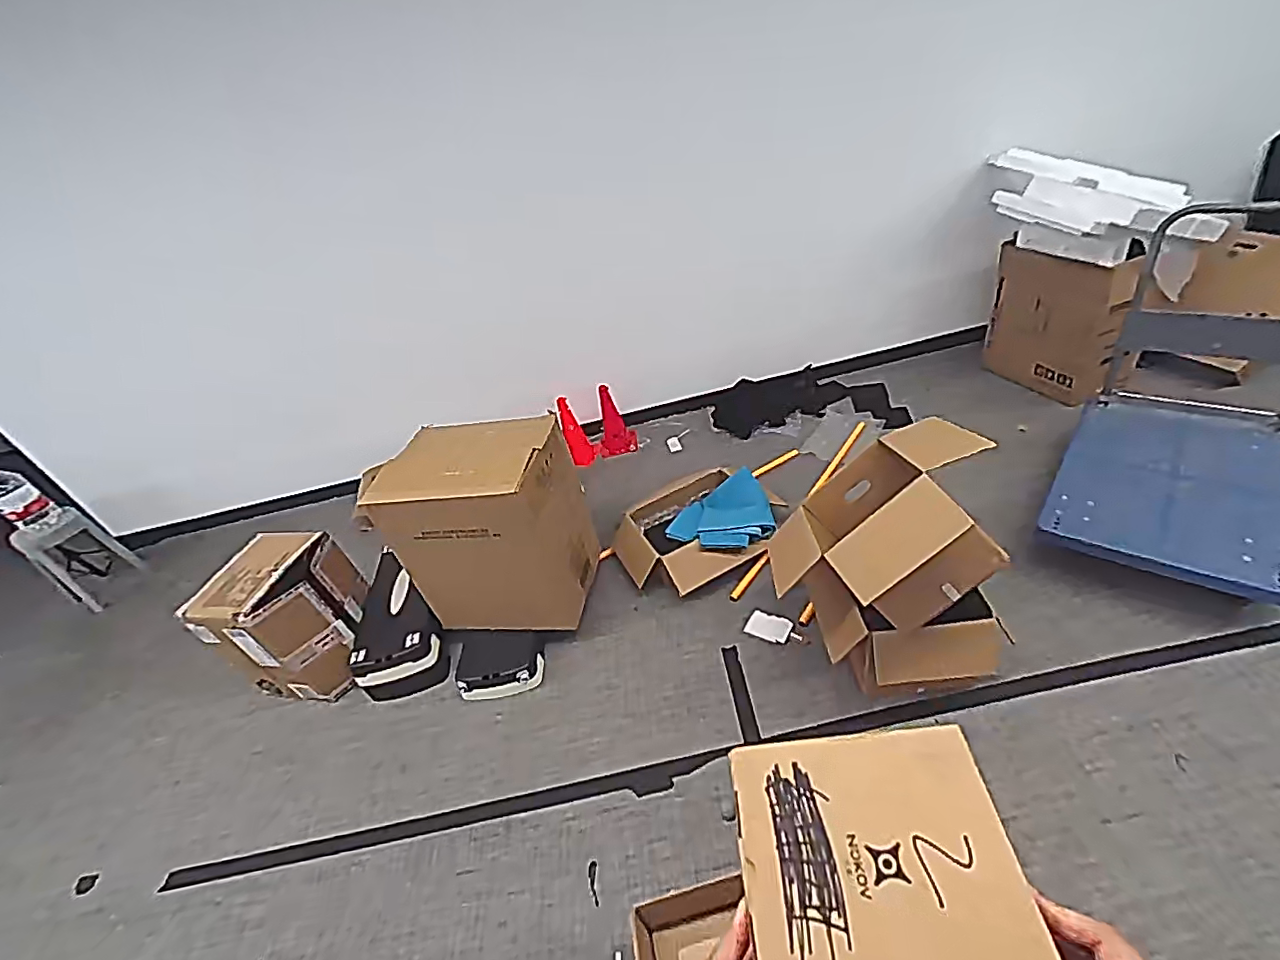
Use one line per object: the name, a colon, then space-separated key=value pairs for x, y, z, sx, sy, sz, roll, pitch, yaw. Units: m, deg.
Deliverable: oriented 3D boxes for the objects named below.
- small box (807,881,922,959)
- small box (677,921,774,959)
small box: x=0.433 y=0.917 z=1.035 sx=0.168 sy=0.176 sz=0.179 roll=-17 pitch=36 yaw=-1
small box: x=0.183 y=0.987 z=1.027 sx=0.179 sy=0.176 sz=0.168 roll=-16 pitch=35 yaw=-3
